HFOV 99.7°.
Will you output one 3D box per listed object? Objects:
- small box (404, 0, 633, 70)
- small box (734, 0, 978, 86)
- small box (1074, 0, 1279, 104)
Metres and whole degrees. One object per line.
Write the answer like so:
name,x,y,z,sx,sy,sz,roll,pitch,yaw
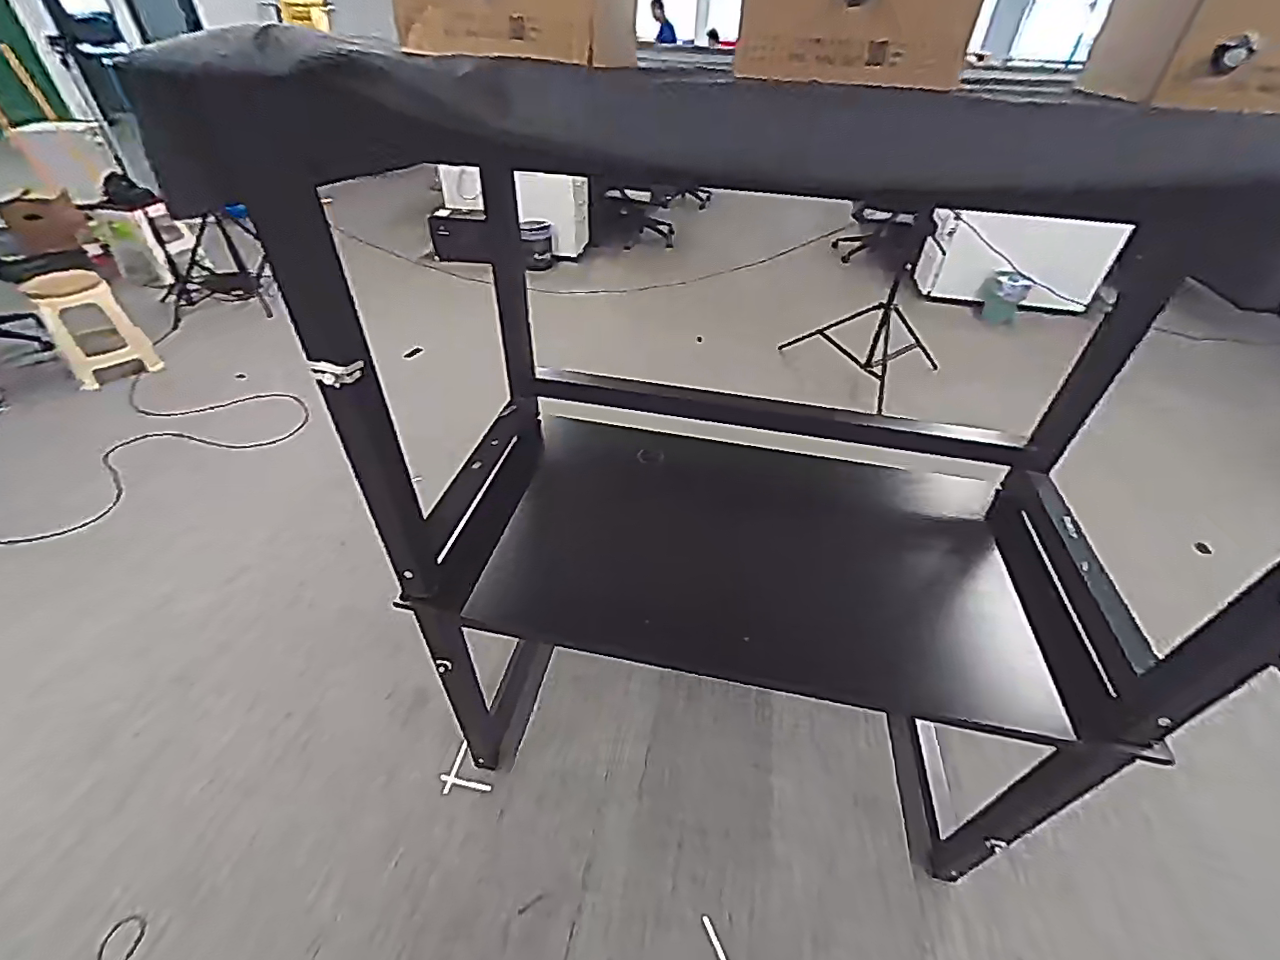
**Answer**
small box,-0.098,-0.458,0.451,0.168,0.176,0.179,9,40,6
small box,0.170,-0.418,0.418,0.168,0.176,0.179,9,39,8
small box,0.465,-0.374,0.385,0.168,0.176,0.179,12,40,10
